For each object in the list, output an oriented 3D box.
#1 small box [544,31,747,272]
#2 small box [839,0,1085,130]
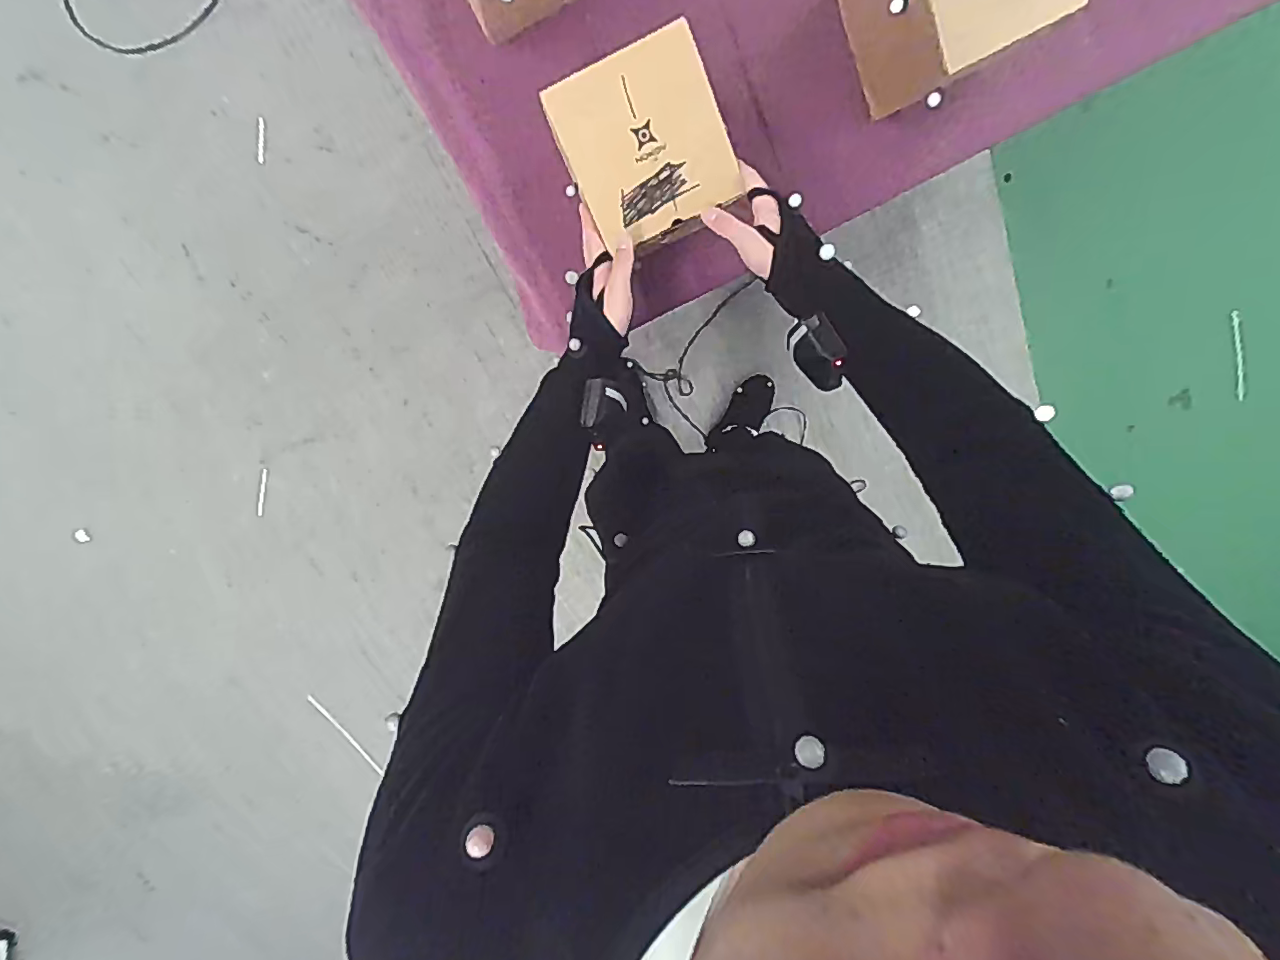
[{"bbox_3d":[0.008,-0.362,0.640,0.168,0.176,0.179,-24,105,5],"label":"small box"},{"bbox_3d":[0.361,-0.558,0.635,0.168,0.176,0.179,-26,108,2],"label":"small box"}]
